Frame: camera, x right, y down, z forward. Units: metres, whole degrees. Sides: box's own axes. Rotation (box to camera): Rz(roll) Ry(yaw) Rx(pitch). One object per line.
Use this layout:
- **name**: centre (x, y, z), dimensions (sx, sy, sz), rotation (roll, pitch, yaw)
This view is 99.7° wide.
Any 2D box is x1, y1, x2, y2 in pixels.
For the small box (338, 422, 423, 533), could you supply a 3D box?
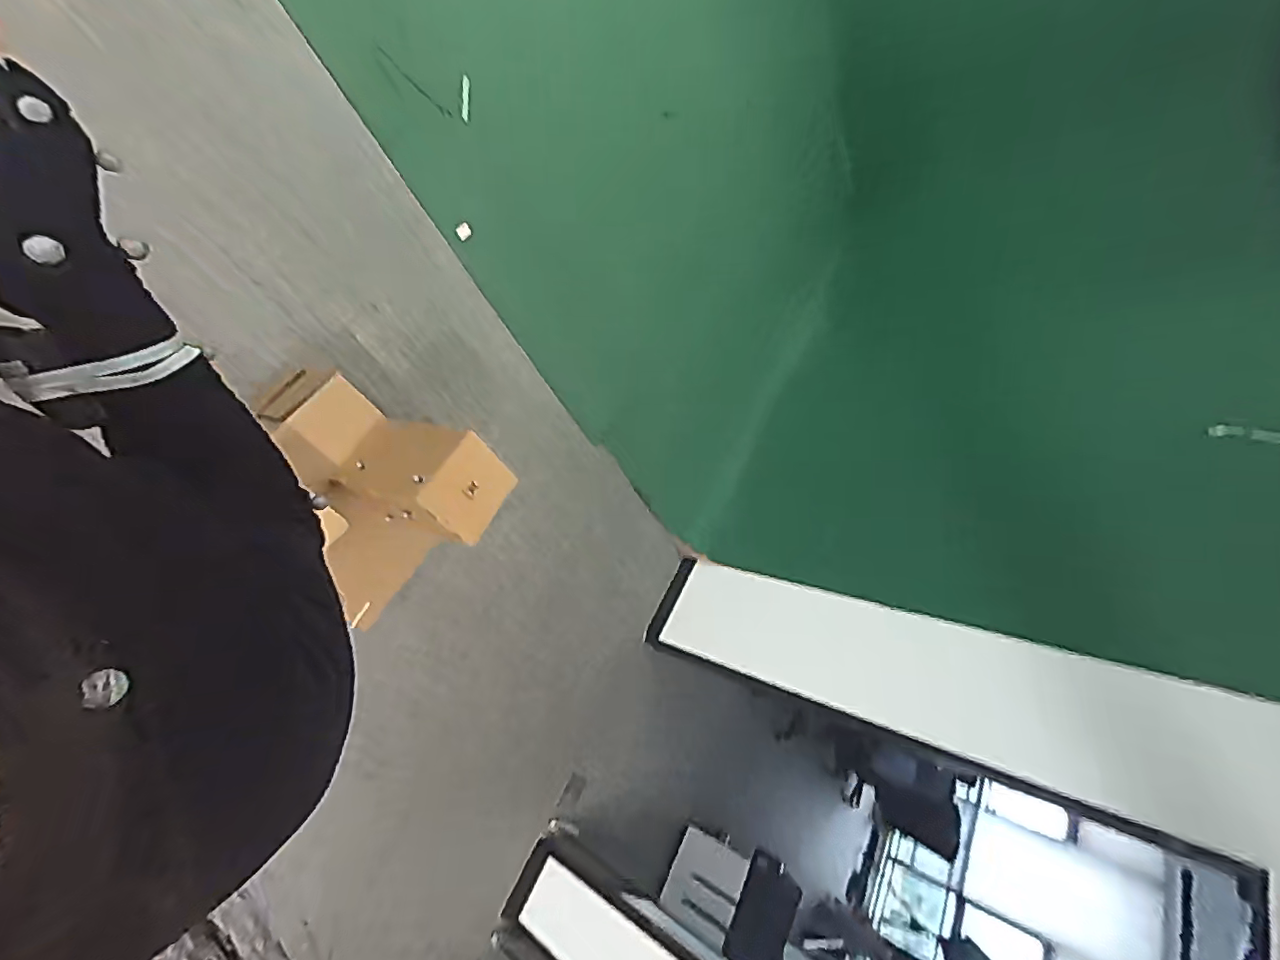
- **small box**: centre (-0.531, -0.010, 1.197), dimensions (0.179, 0.176, 0.168), rotation (-61, 140, -25)

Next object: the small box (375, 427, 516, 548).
- **small box**: centre (-0.398, 0.009, 1.105), dimensions (0.179, 0.176, 0.168), rotation (-60, 139, -24)
